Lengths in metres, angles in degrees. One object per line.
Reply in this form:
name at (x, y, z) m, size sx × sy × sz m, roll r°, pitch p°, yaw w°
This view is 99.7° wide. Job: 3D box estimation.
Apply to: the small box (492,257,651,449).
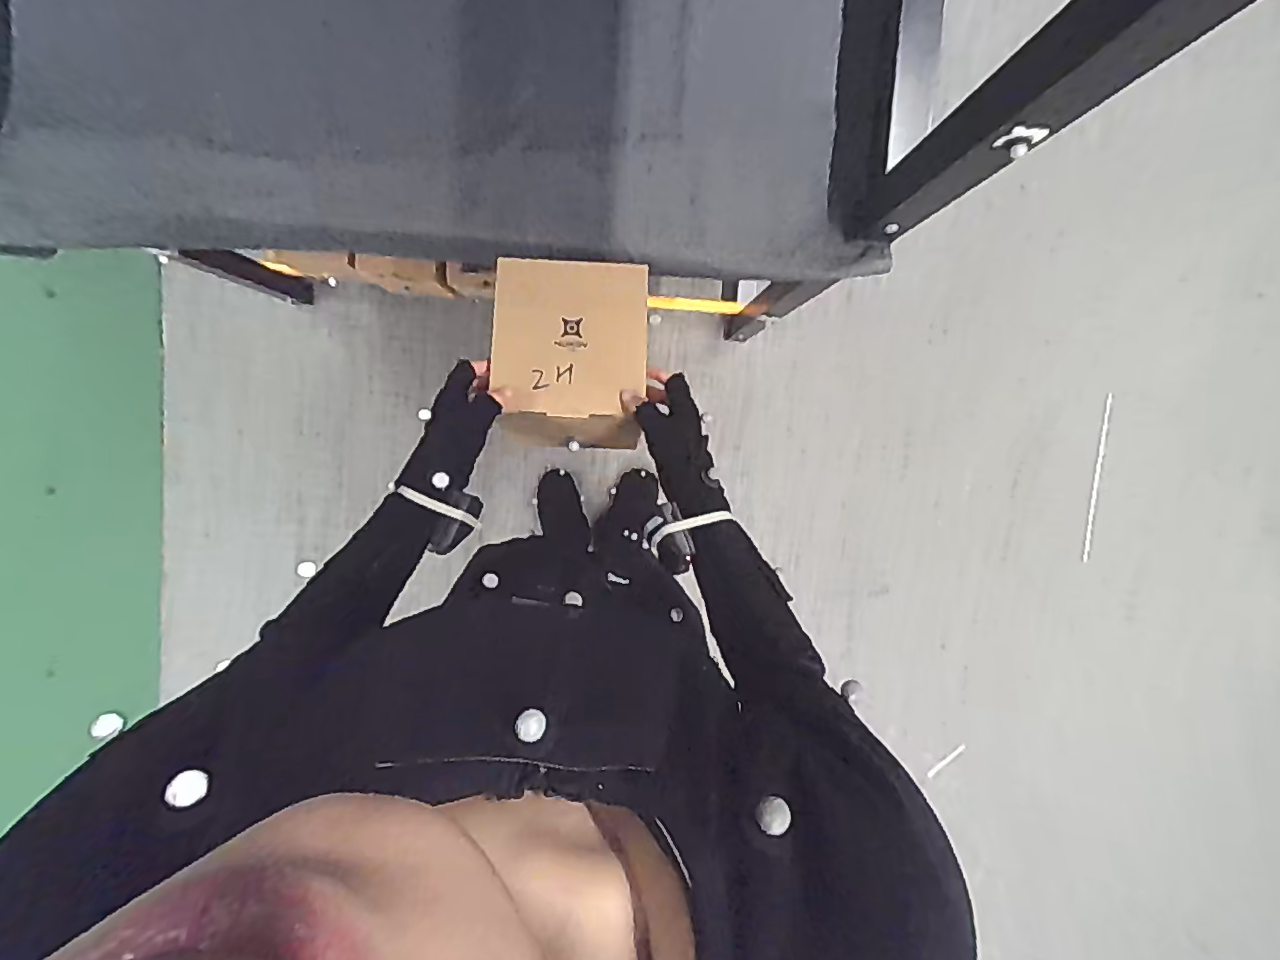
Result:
small box at (-0.078, -0.144, 0.665) m, size 0.168 × 0.176 × 0.179 m, roll 2°, pitch 81°, yaw -3°
